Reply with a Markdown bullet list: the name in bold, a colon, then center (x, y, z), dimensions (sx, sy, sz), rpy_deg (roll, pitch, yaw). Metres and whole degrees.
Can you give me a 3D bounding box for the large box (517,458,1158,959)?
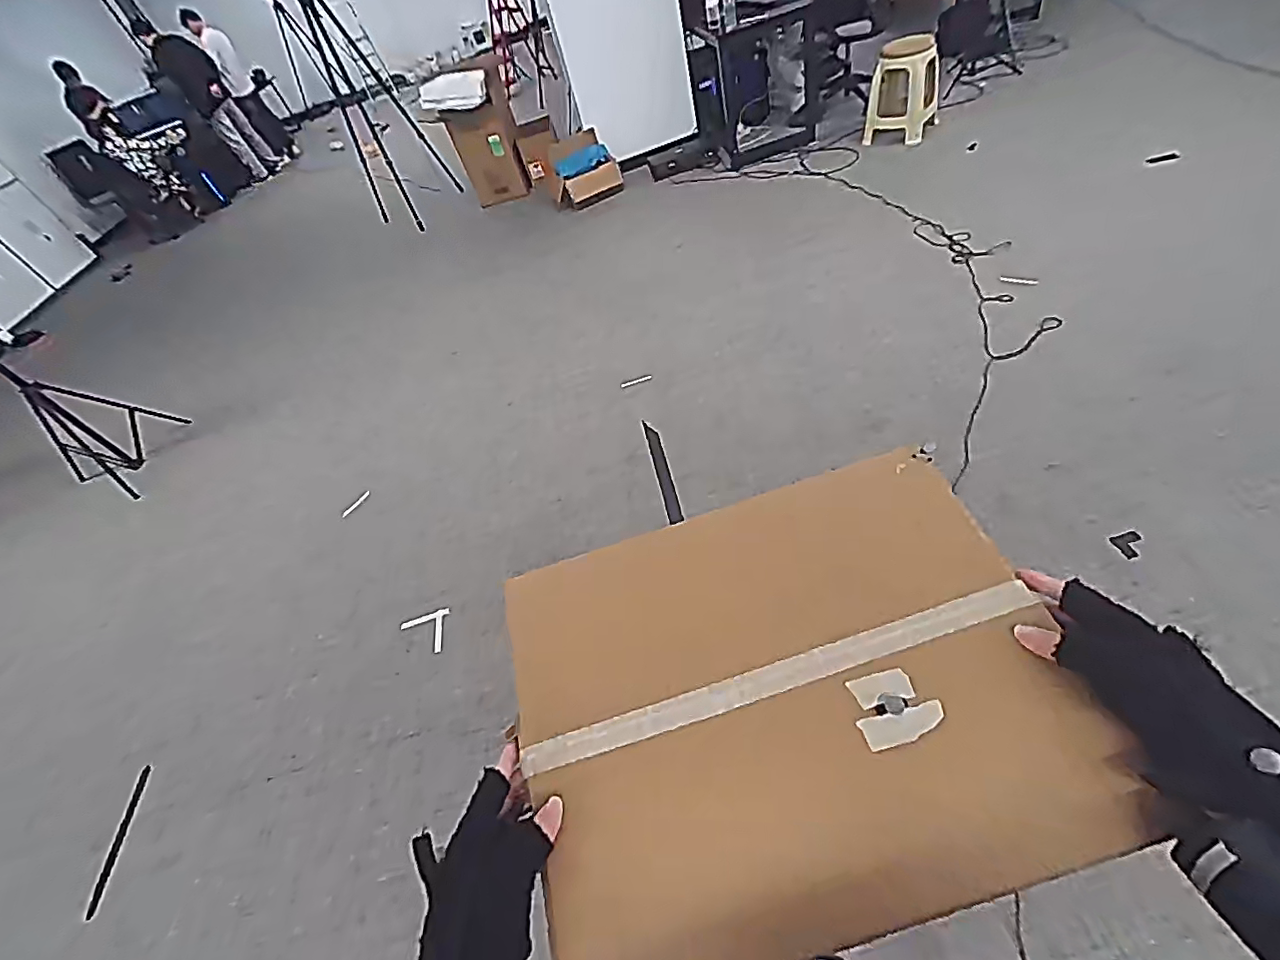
- **large box**: center (0.134, 0.243, 0.550), dimensions (0.408, 0.320, 0.320), rpy_deg (-19, 54, 0)
